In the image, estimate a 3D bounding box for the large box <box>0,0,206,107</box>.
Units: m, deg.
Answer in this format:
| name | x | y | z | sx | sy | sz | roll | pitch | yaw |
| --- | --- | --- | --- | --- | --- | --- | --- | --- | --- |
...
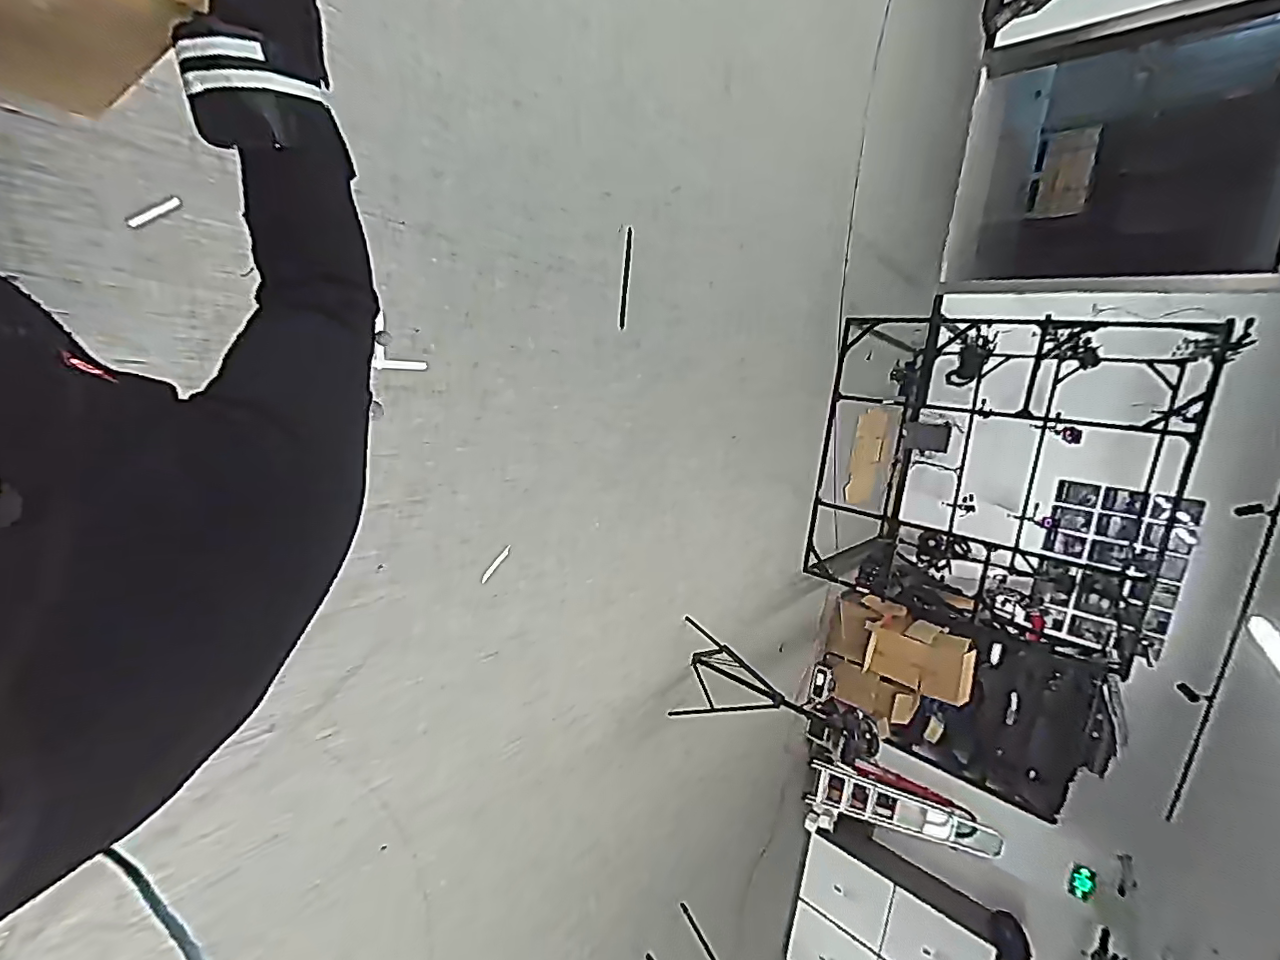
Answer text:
| name | x | y | z | sx | sy | sz | roll | pitch | yaw |
| --- | --- | --- | --- | --- | --- | --- | --- | --- | --- |
| large box | -0.507 | -0.450 | 0.245 | 0.408 | 0.320 | 0.320 | -11 | 110 | -54 |
